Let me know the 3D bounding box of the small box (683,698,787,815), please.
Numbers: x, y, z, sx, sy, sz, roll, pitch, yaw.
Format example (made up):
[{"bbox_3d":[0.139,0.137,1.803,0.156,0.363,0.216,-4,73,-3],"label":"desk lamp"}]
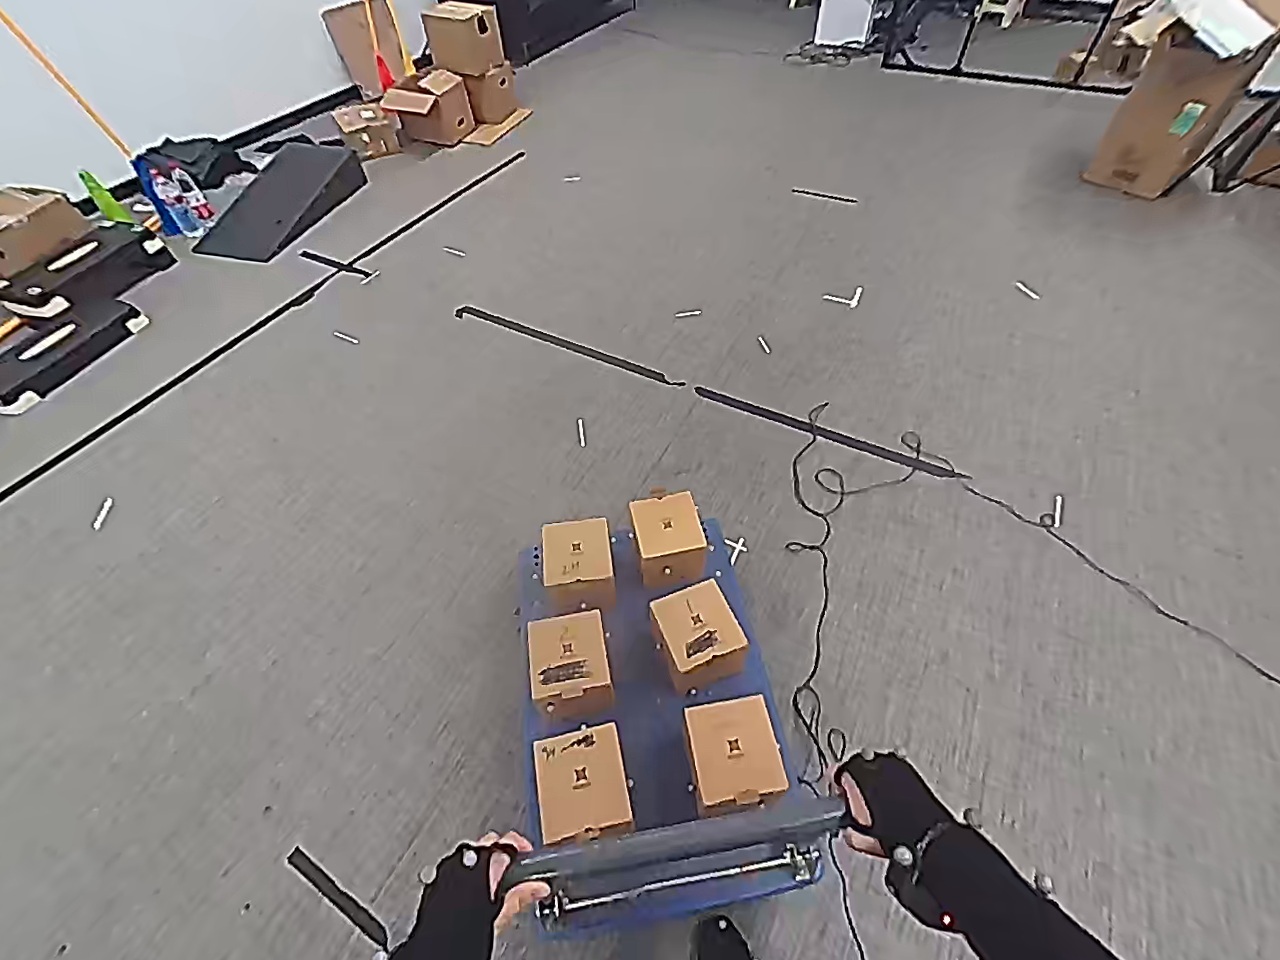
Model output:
[{"bbox_3d":[0.184,0.571,1.107,0.168,0.176,0.179,-8,51,-5],"label":"small box"}]

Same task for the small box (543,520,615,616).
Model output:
[{"bbox_3d":[-0.155,0.228,1.387,0.168,0.176,0.179,-7,53,-4],"label":"small box"}]

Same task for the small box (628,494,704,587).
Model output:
[{"bbox_3d":[0.067,0.167,1.431,0.168,0.176,0.179,-11,52,-6],"label":"small box"}]

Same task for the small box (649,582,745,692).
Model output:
[{"bbox_3d":[0.128,0.373,1.264,0.168,0.176,0.179,-18,52,-12],"label":"small box"}]

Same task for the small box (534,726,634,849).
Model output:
[{"bbox_3d":[-0.109,0.618,1.079,0.168,0.176,0.179,-11,53,-7],"label":"small box"}]
